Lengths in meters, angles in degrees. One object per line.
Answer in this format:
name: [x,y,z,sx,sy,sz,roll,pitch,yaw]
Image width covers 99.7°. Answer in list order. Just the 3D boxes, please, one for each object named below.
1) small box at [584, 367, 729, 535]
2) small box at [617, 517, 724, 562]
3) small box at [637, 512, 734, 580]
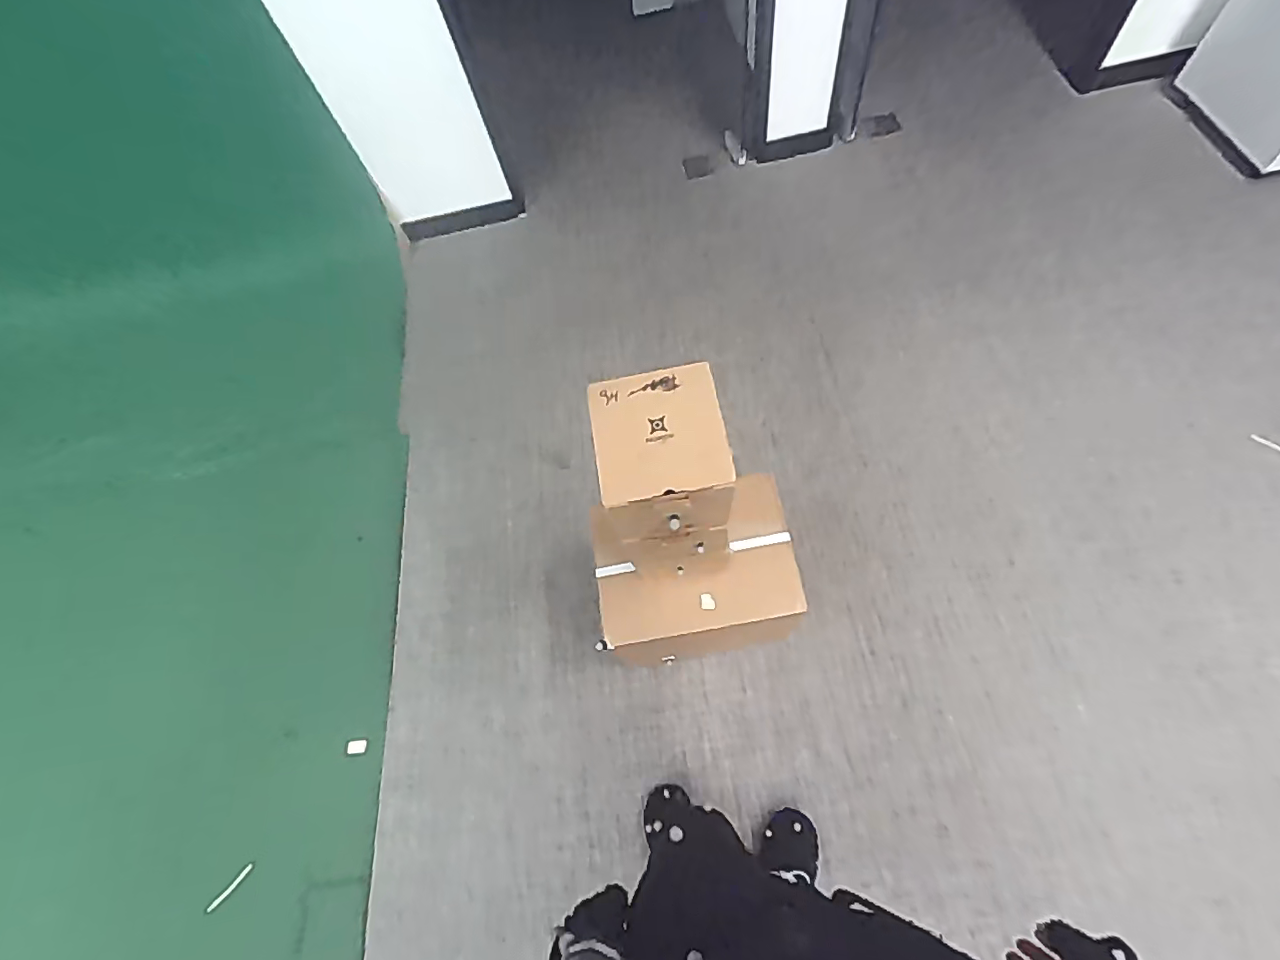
small box: [0.027,-0.028,0.759,0.168,0.176,0.179,-11,70,3]
small box: [0.047,0.033,0.910,0.168,0.176,0.179,-10,68,3]
small box: [0.077,0.092,1.057,0.179,0.176,0.168,-11,69,3]
